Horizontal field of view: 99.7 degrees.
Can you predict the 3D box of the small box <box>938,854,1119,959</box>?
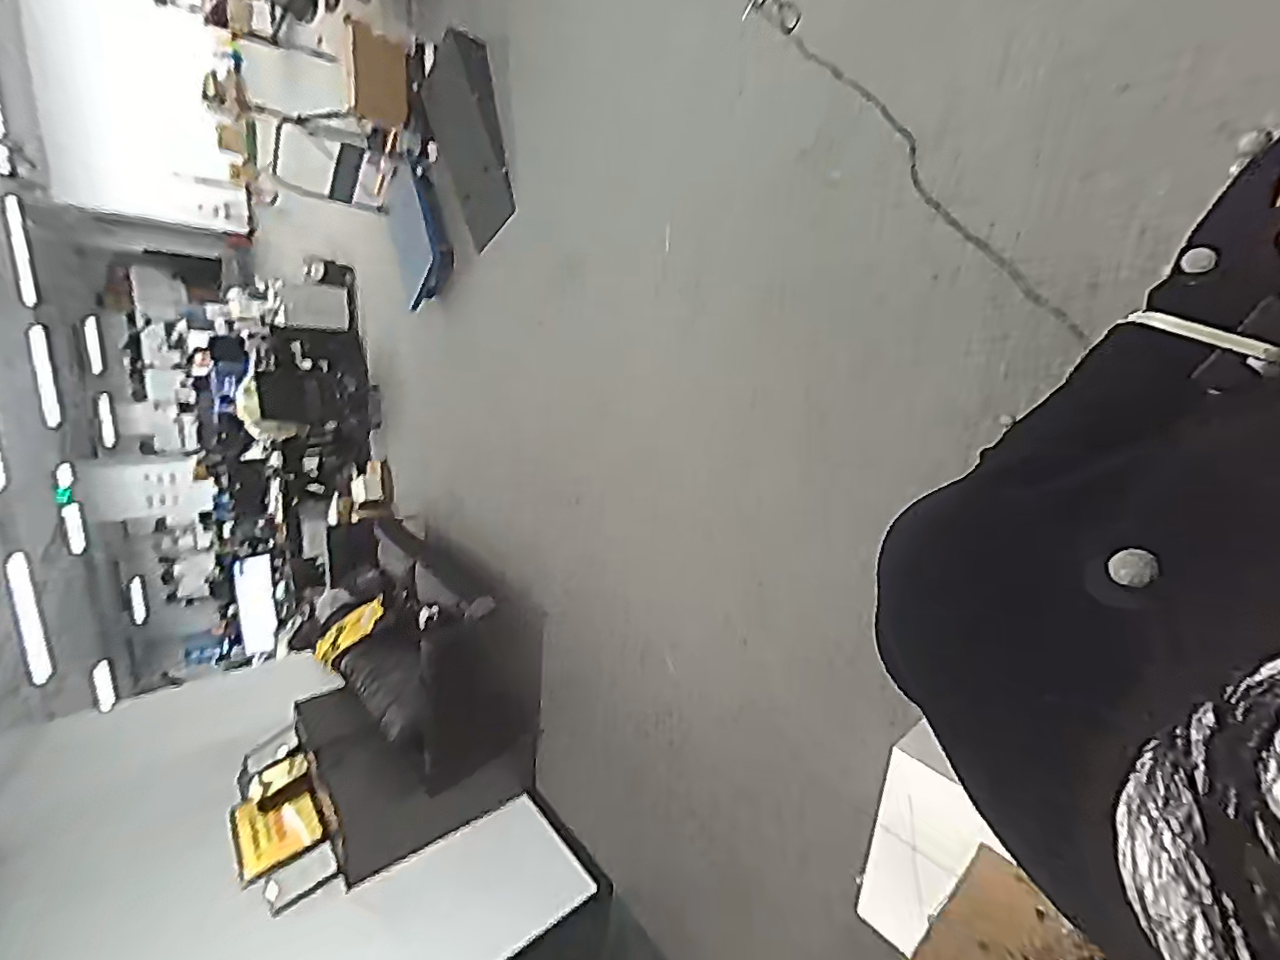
[{"bbox_3d":[0.551,0.703,0.779,0.168,0.176,0.179,23,114,46],"label":"small box"}]
